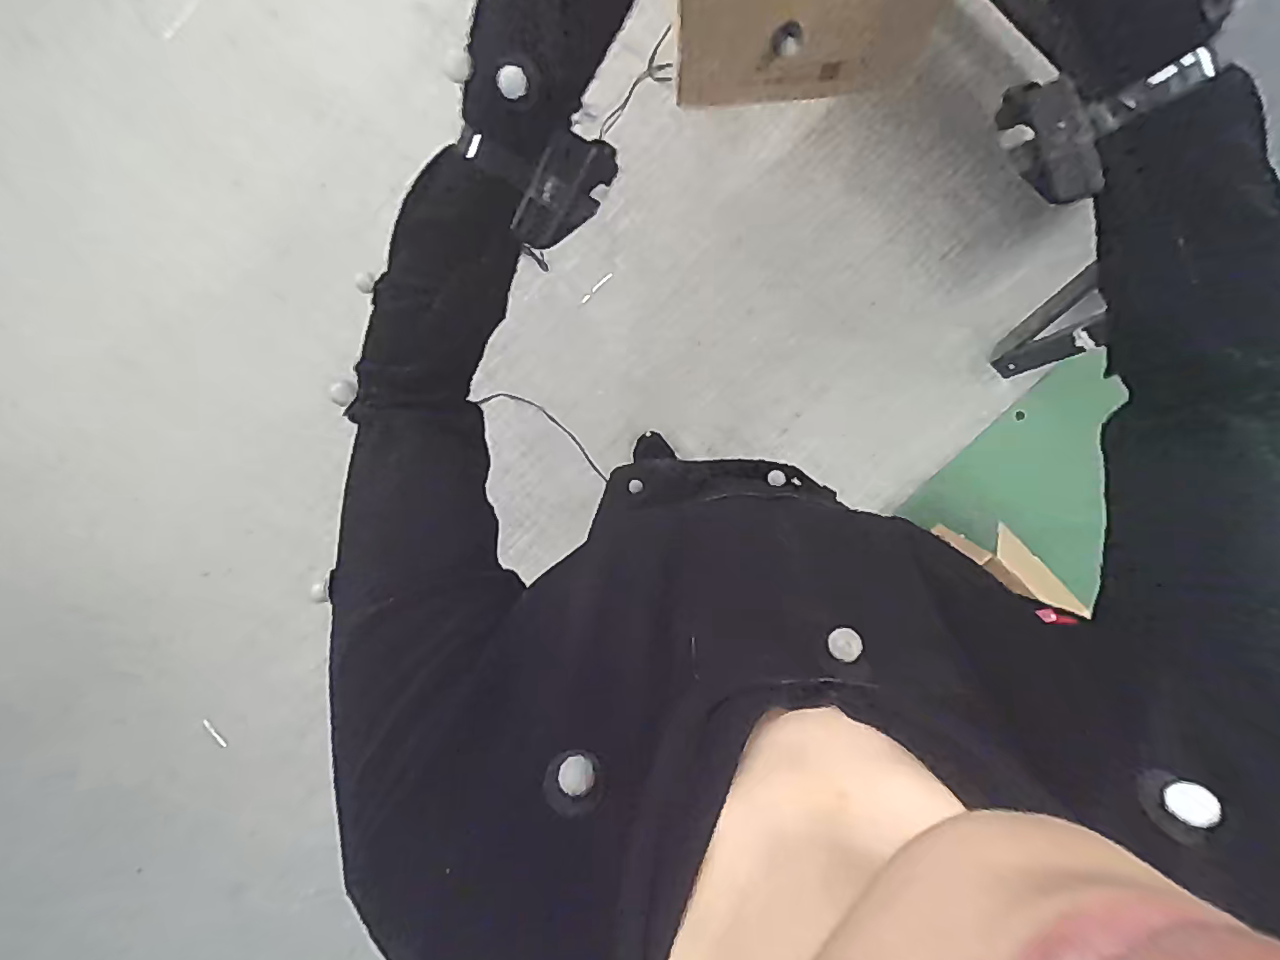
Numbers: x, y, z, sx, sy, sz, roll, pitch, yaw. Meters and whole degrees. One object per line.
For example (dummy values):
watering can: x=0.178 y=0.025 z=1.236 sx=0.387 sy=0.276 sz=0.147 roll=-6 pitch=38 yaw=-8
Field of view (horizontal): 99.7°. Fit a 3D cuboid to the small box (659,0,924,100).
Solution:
small box: x=0.091 y=-0.377 z=0.325 sx=0.168 sy=0.176 sz=0.179 roll=-4 pitch=88 yaw=4
